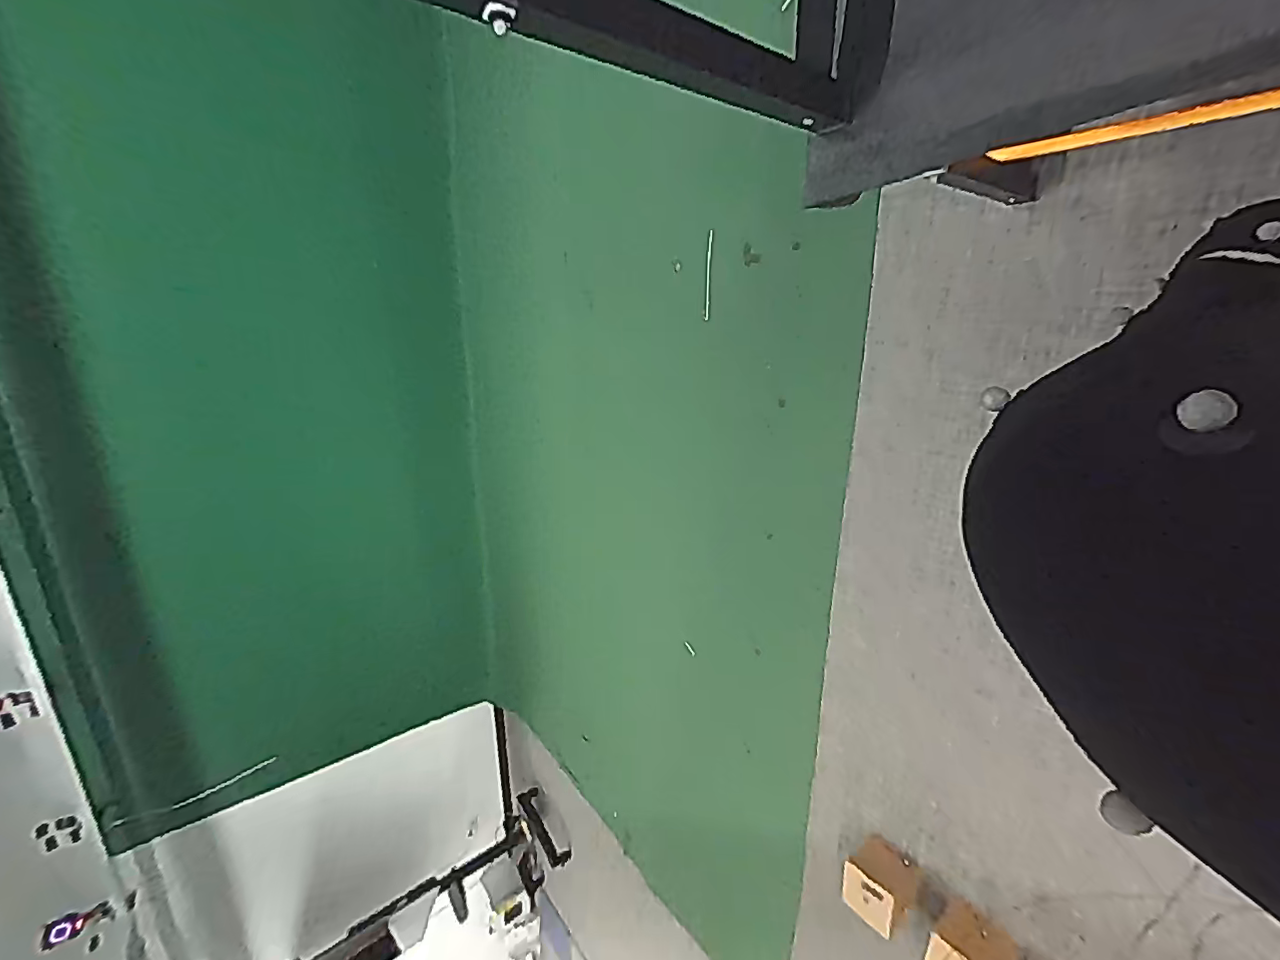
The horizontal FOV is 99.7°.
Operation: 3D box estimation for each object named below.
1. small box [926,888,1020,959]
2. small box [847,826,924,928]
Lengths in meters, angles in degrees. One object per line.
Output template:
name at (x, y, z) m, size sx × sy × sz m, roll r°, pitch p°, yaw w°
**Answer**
small box at (0.969, 1.356, 1.571) m, size 0.168 × 0.176 × 0.179 m, roll 23°, pitch 118°, yaw 50°
small box at (0.807, 1.293, 1.776) m, size 0.168 × 0.176 × 0.179 m, roll 19°, pitch 115°, yaw 51°
